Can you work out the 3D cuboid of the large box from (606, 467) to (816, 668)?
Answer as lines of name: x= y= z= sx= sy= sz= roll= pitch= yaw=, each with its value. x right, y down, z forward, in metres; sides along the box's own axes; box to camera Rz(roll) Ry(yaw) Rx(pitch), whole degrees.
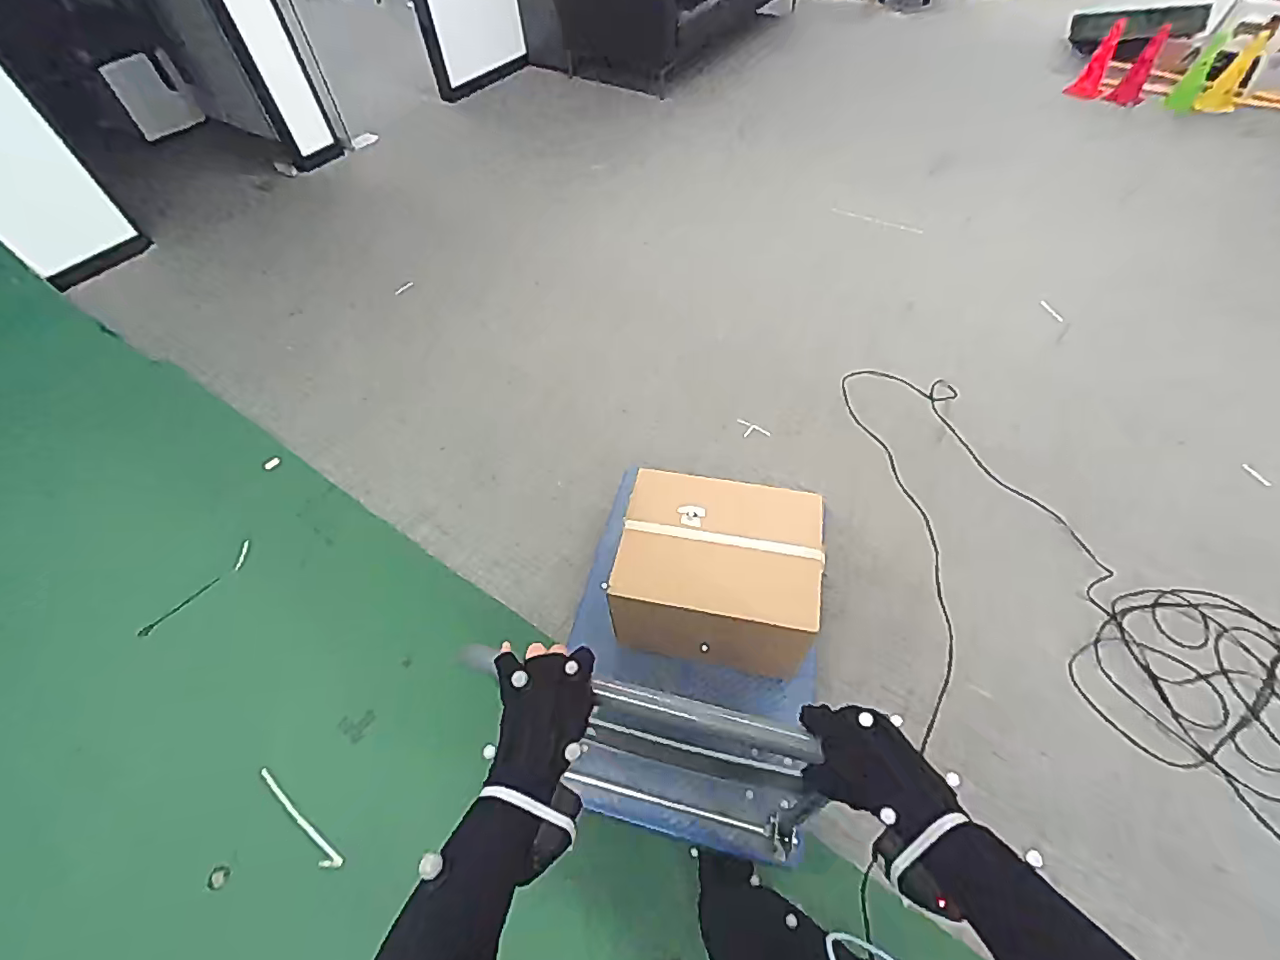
large box: x=0.165 y=0.203 z=1.228 sx=0.408 sy=0.320 sz=0.320 roll=8 pitch=55 yaw=9
